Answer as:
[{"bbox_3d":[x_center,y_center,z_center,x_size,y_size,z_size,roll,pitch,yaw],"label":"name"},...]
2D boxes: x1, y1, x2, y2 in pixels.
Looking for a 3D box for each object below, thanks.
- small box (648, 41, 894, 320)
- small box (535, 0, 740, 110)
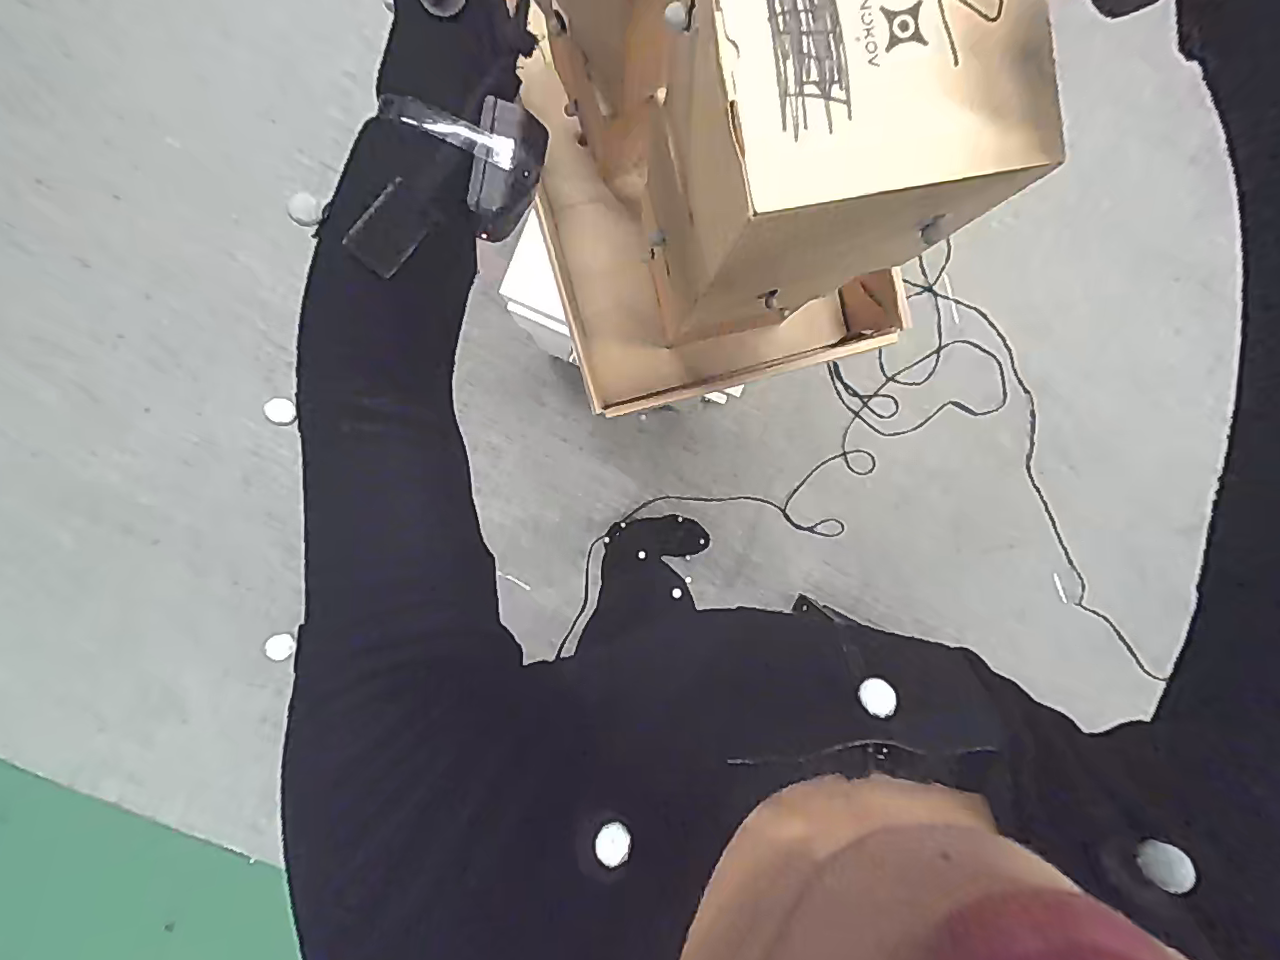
[{"bbox_3d":[0.111,-0.270,0.529,0.179,0.176,0.168,-13,94,-1],"label":"small box"},{"bbox_3d":[-0.001,-0.508,0.505,0.179,0.176,0.168,-40,95,3],"label":"small box"}]
